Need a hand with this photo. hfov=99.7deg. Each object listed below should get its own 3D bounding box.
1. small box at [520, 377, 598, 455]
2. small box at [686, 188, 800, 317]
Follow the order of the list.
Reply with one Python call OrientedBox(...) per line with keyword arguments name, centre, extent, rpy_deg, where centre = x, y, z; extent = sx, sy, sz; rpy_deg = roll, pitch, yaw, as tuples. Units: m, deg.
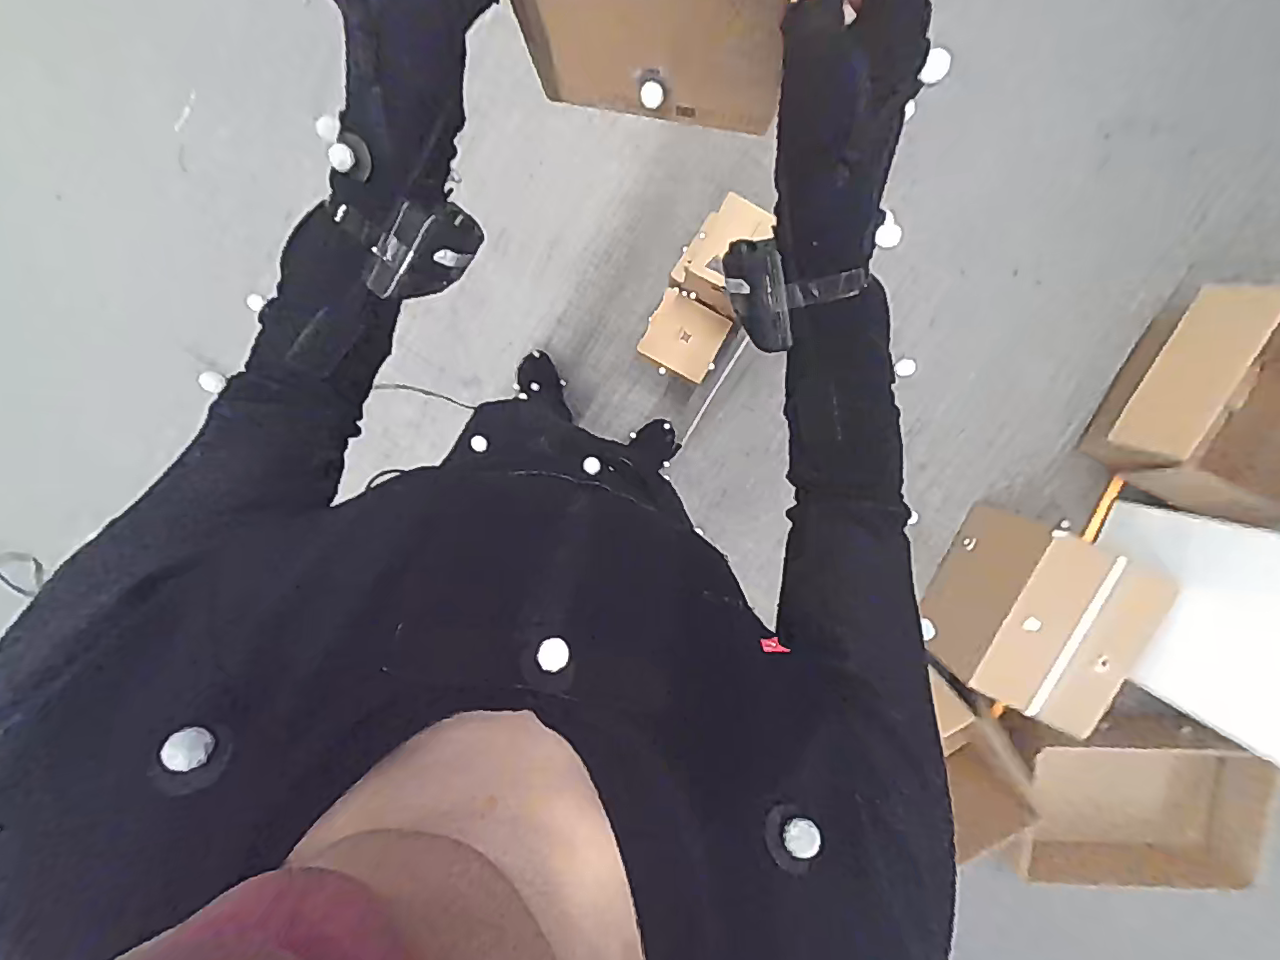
OrientedBox(name="small box", centre=(-0.215, -0.168, 1.394), extent=(0.168, 0.176, 0.179), rpy_deg=(1, 101, -20))
OrientedBox(name="small box", centre=(0.209, -0.472, 1.157), extent=(0.168, 0.176, 0.179), rpy_deg=(29, 96, -4))
